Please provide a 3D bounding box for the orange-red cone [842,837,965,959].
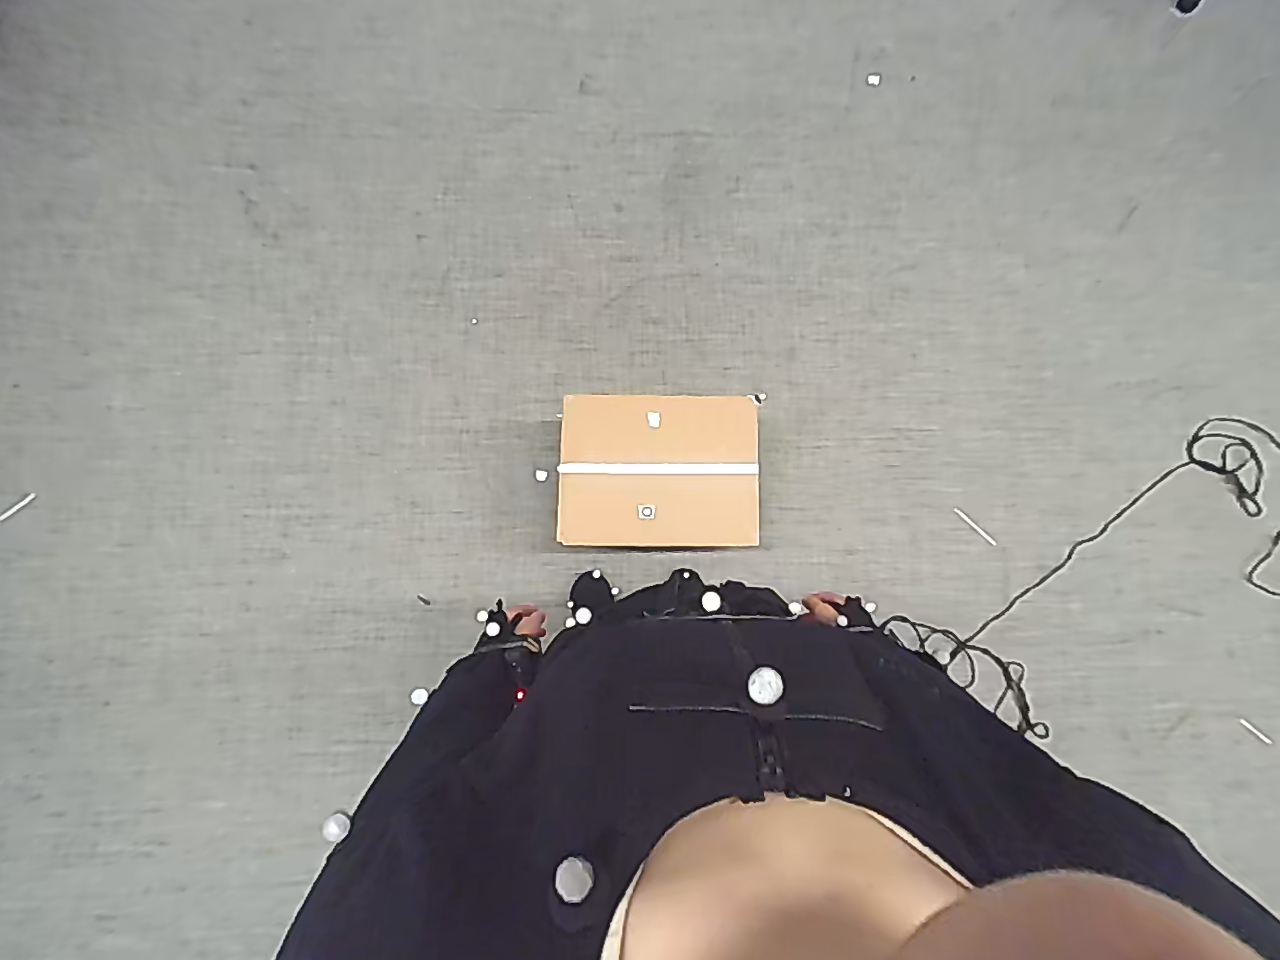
[{"bbox_3d":[0.589,0.927,1.079,0.199,0.360,0.198,20,83,-1],"label":"orange-red cone"}]
